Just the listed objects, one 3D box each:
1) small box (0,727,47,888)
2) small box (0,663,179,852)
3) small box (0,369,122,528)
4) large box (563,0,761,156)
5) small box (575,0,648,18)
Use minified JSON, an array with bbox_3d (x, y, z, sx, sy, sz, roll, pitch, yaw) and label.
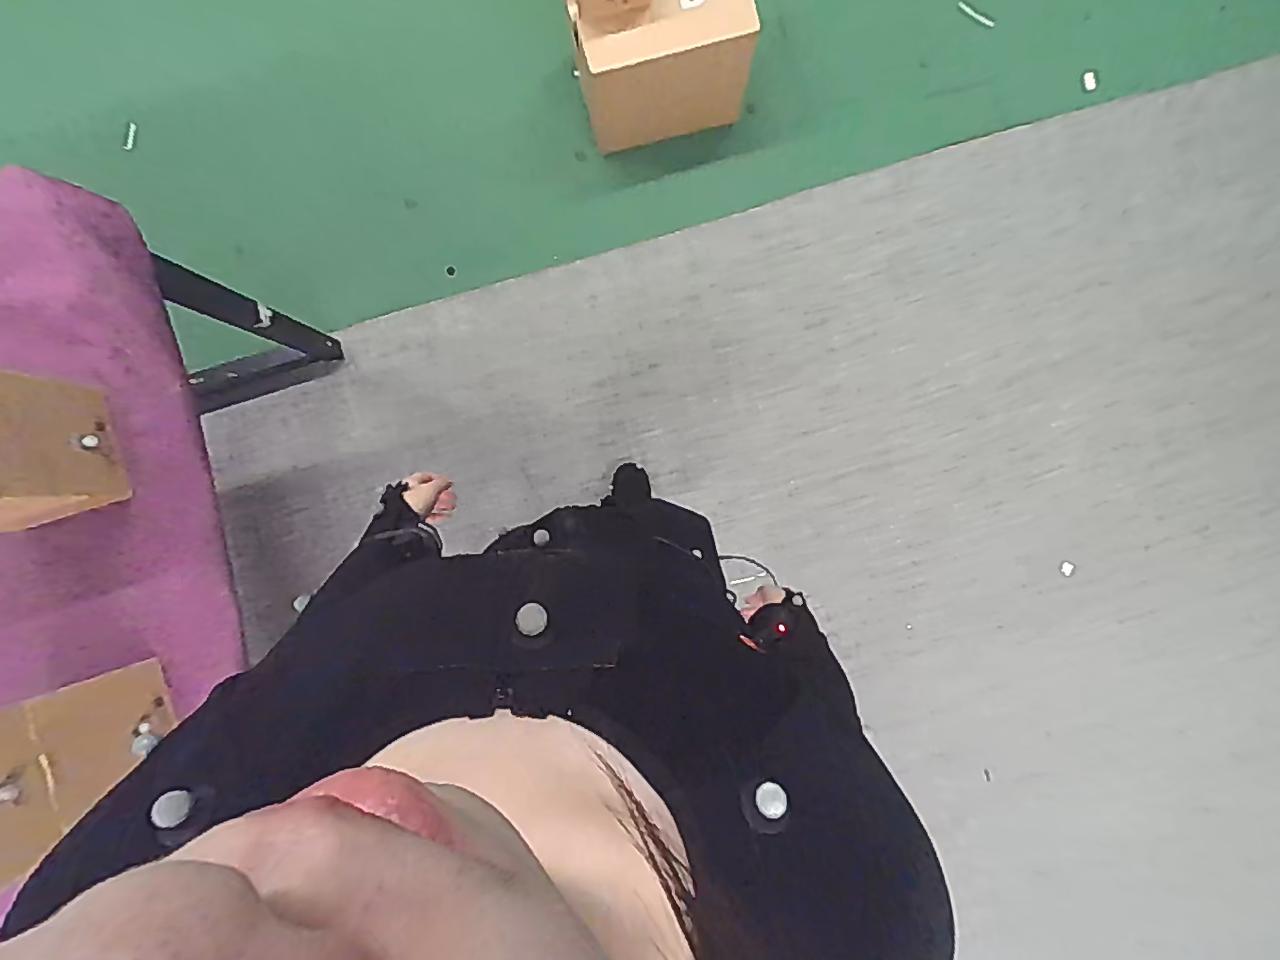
[{"bbox_3d":[-0.747,0.354,0.514,0.168,0.176,0.179,-18,89,1],"label":"small box"},{"bbox_3d":[-0.747,0.354,0.678,0.179,0.176,0.168,-18,90,1],"label":"small box"},{"bbox_3d":[-0.831,-0.032,0.684,0.179,0.176,0.168,-16,90,-1],"label":"small box"},{"bbox_3d":[0.040,-1.100,1.365,0.408,0.320,0.320,-15,90,-1],"label":"large box"},{"bbox_3d":[-0.074,-1.126,1.121,0.168,0.176,0.179,-15,89,-1],"label":"small box"}]
